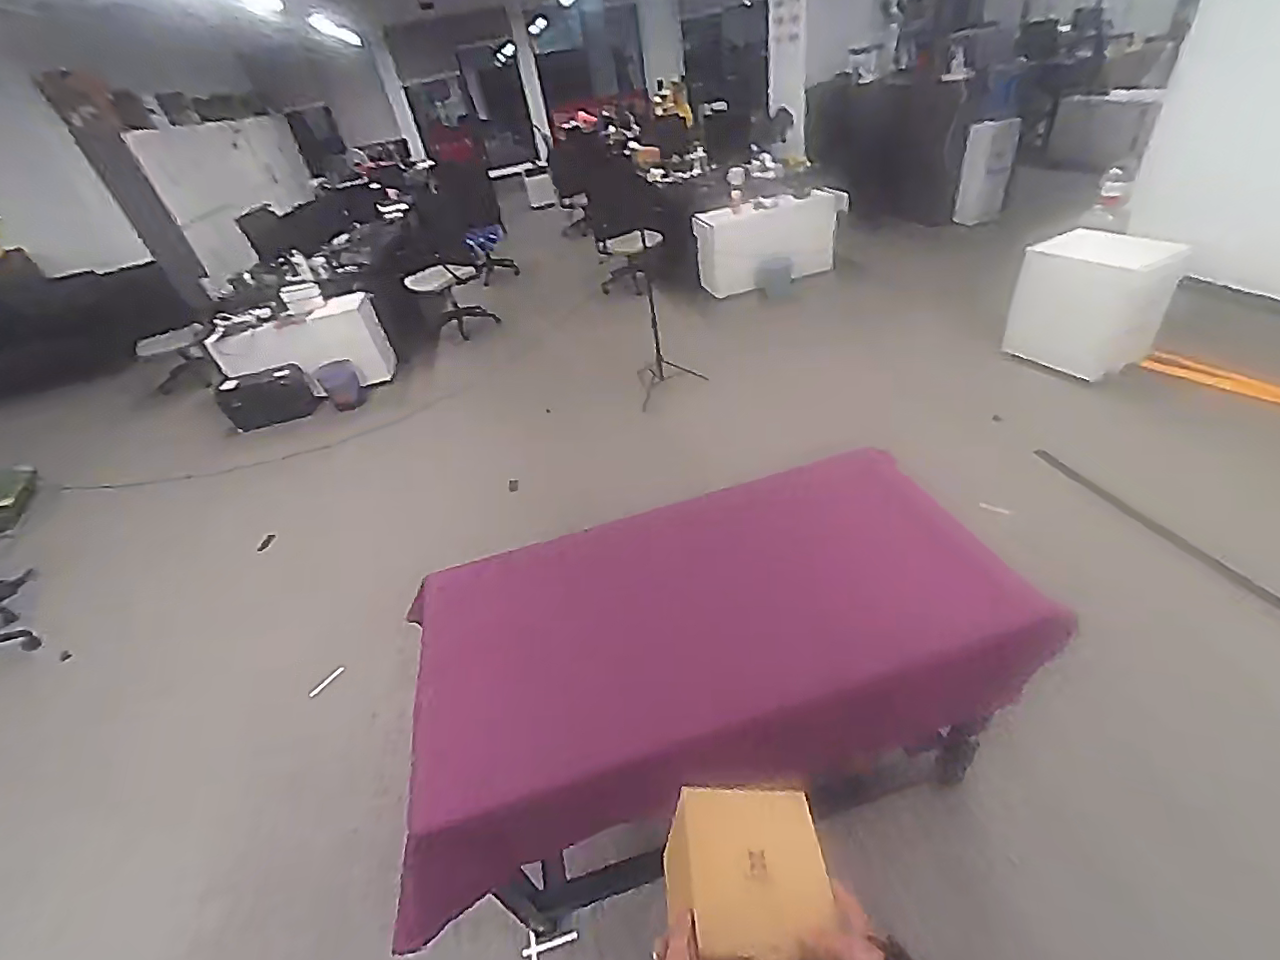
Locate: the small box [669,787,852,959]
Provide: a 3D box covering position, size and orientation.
[{"bbox_3d":[0.131,0.518,0.672,0.168,0.176,0.179,5,32,-4],"label":"small box"}]
